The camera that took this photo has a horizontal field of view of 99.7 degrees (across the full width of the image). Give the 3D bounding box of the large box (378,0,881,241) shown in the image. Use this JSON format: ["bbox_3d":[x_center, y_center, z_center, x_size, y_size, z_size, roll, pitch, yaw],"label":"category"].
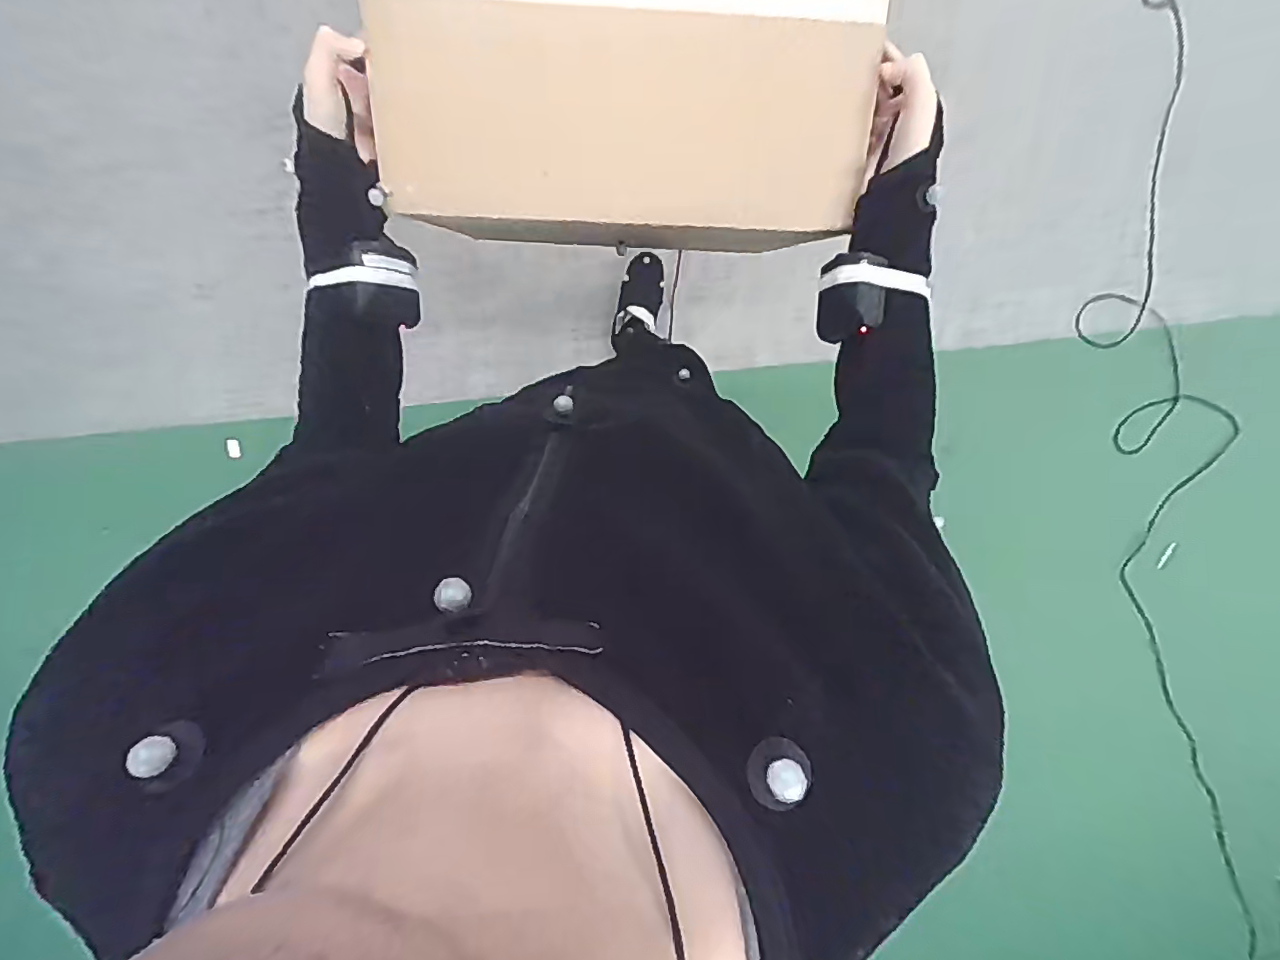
[{"bbox_3d":[-0.010,-0.426,0.565,0.408,0.320,0.320,1,110,-3],"label":"large box"}]
